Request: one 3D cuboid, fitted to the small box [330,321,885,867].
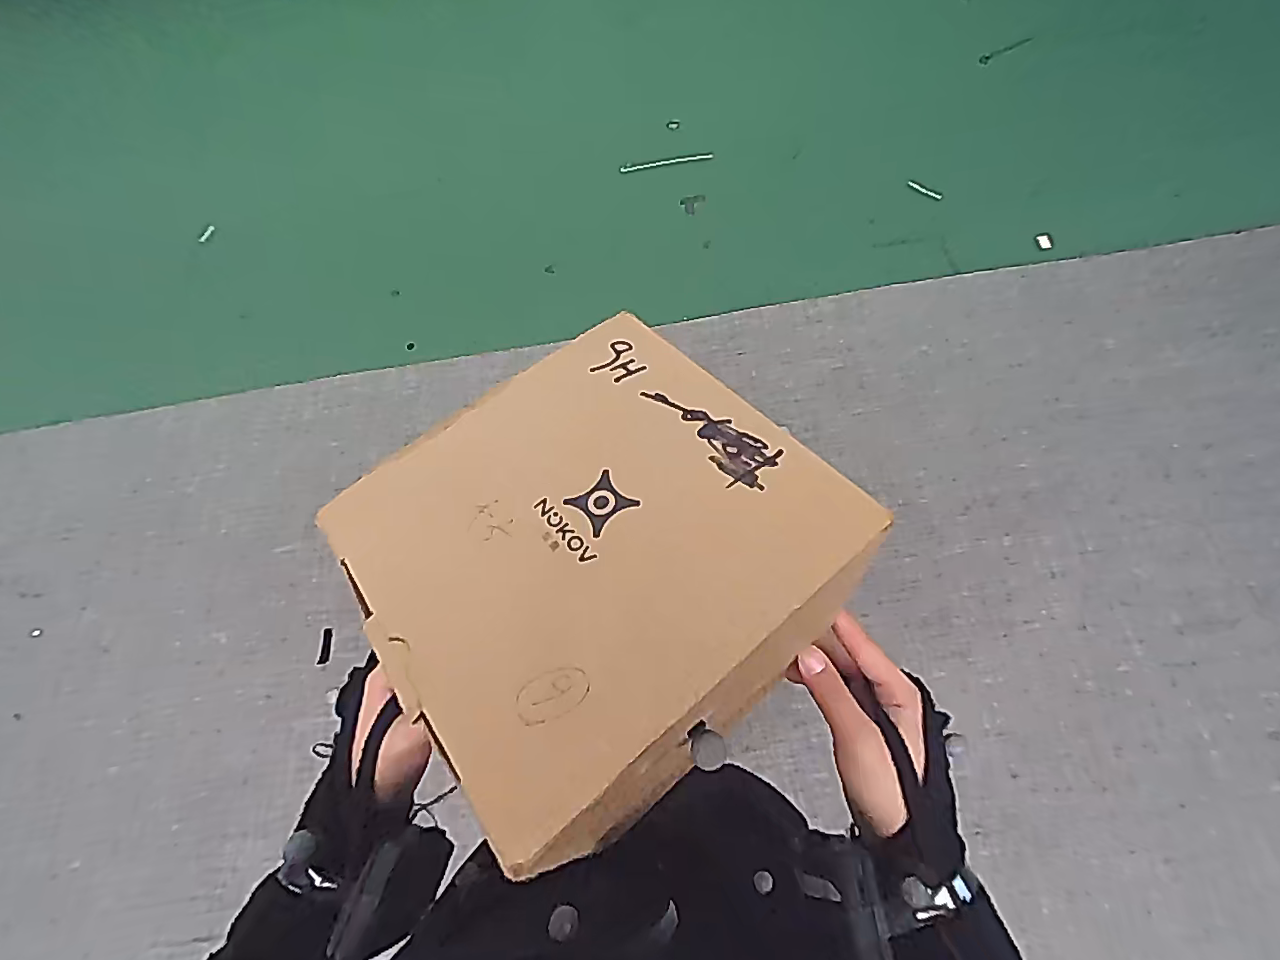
[{"bbox_3d":[-0.011,0.060,0.285,0.179,0.176,0.168,-37,60,-15],"label":"small box"}]
